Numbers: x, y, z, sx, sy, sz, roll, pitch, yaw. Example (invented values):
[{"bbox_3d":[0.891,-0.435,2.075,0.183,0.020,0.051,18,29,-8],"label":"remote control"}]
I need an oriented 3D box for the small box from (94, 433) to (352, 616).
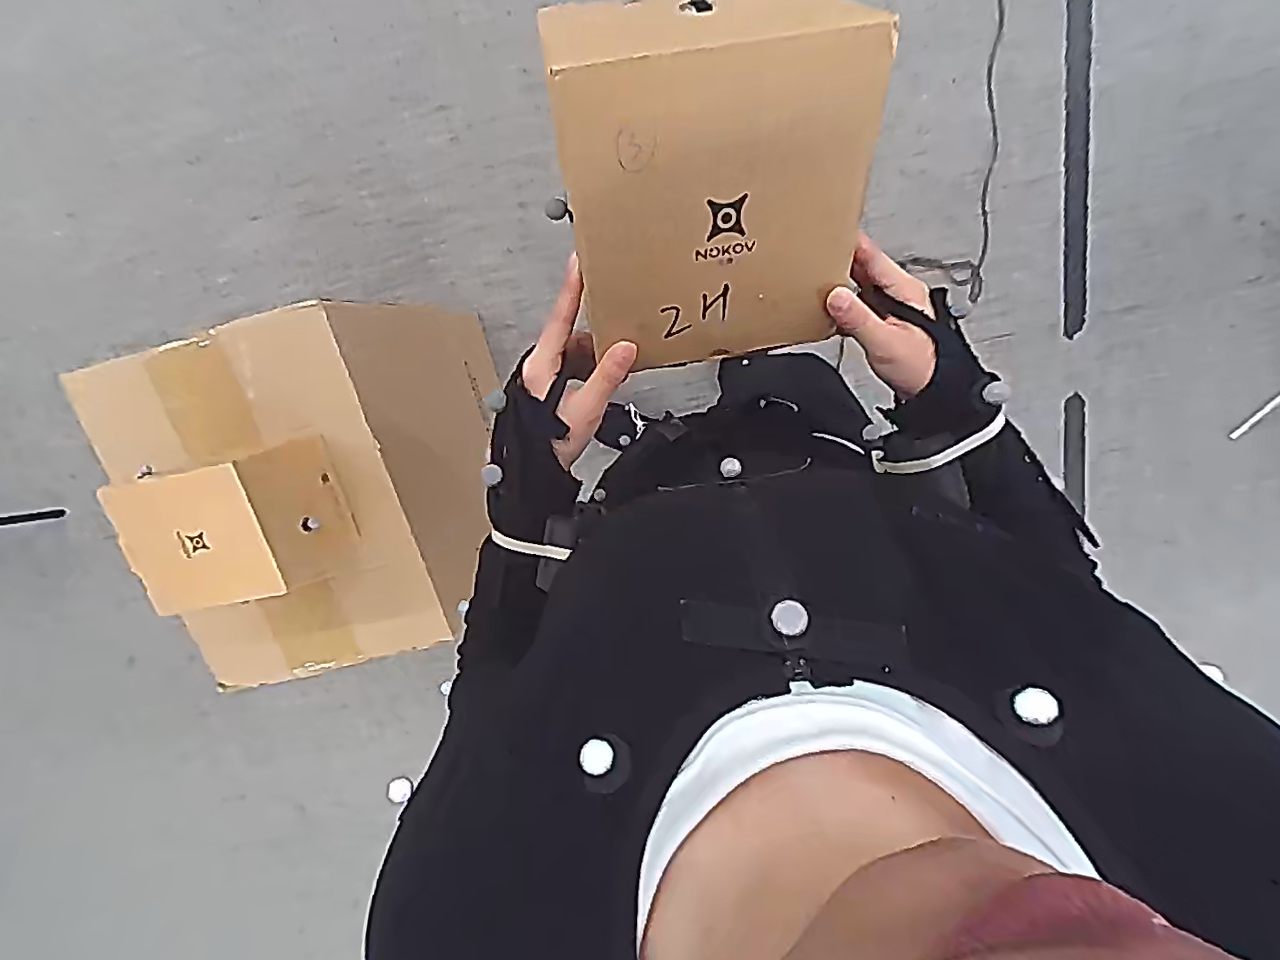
[{"bbox_3d":[-0.501,0.046,0.688,0.179,0.176,0.168,-11,106,6],"label":"small box"}]

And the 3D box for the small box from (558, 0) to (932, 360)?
[{"bbox_3d":[0.044,-0.207,0.350,0.168,0.176,0.179,-9,137,-3],"label":"small box"}]
